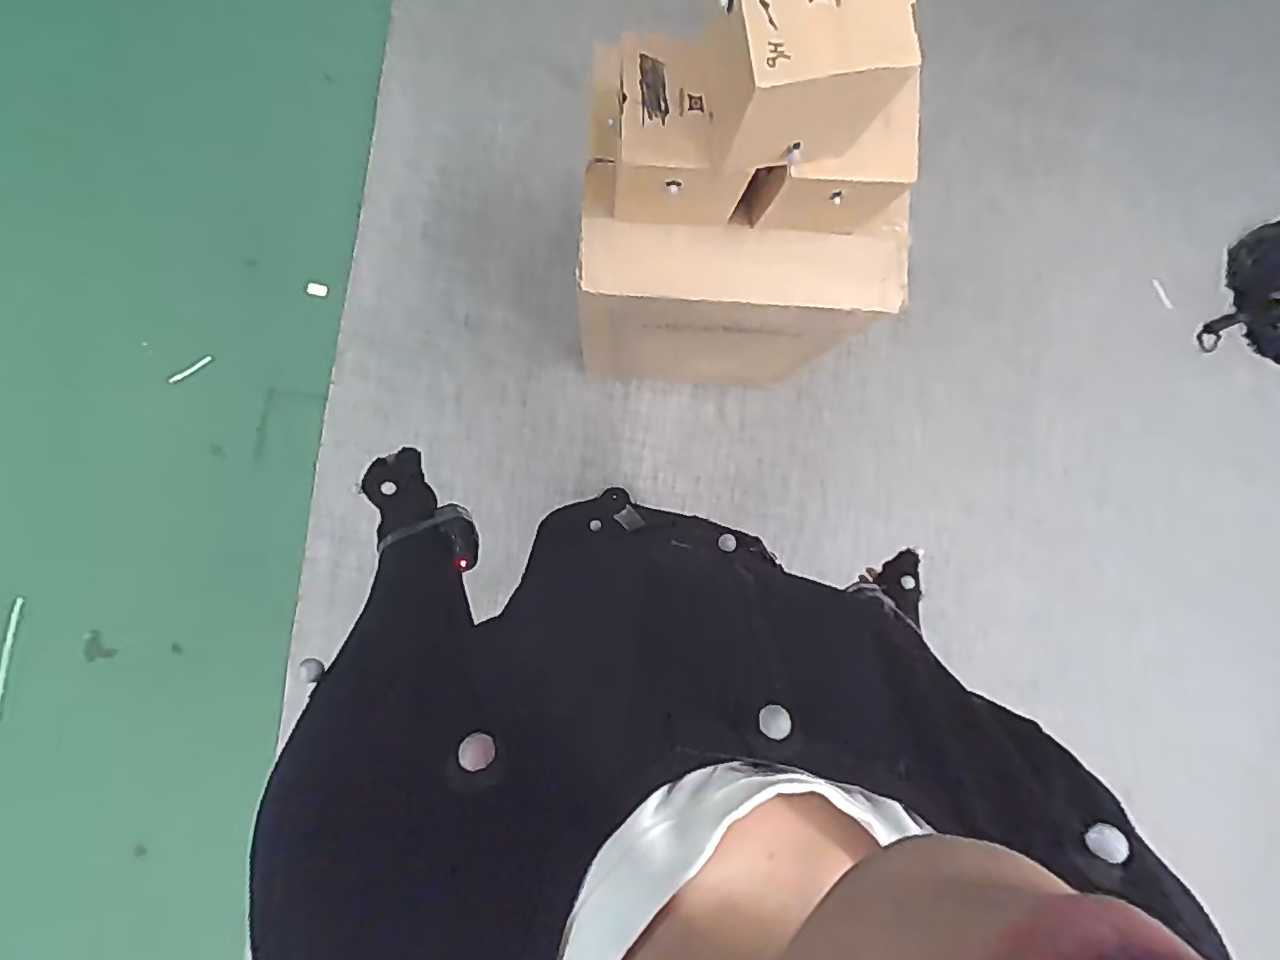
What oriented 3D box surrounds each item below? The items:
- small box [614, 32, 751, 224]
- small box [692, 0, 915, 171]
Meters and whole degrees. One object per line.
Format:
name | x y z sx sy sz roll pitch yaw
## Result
small box | 0.053 -0.481 0.765 0.179 0.176 0.168 1 93 -6
small box | 0.172 -0.480 0.611 0.179 0.176 0.168 -11 94 -6
